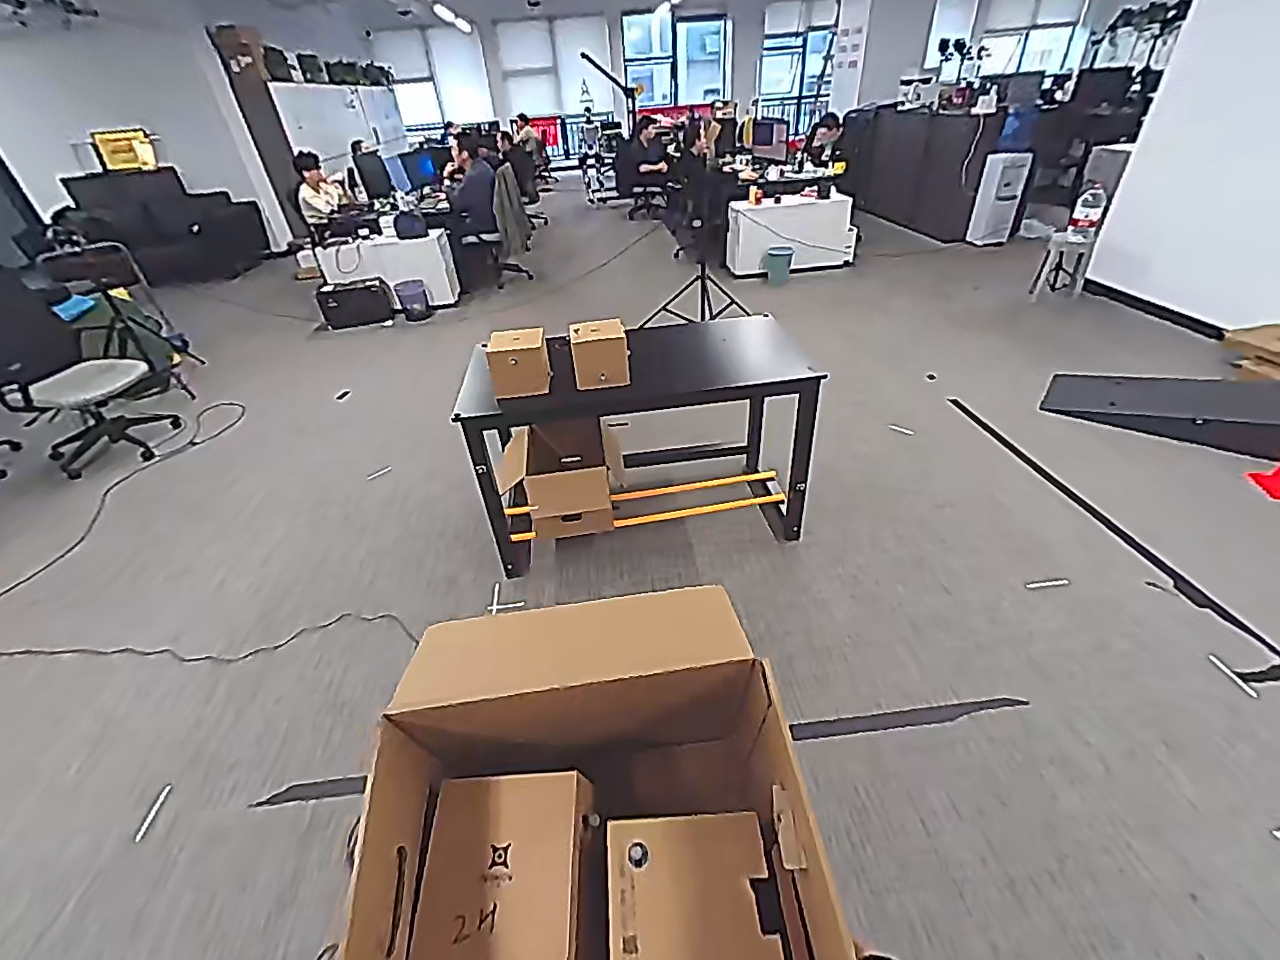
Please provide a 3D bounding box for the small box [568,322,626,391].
[{"bbox_3d":[-0.141,-0.411,1.798,0.179,0.176,0.168,-7,36,-5],"label":"small box"}]

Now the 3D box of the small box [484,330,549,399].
[{"bbox_3d":[-0.402,-0.380,1.785,0.179,0.176,0.168,-6,37,-4],"label":"small box"}]
